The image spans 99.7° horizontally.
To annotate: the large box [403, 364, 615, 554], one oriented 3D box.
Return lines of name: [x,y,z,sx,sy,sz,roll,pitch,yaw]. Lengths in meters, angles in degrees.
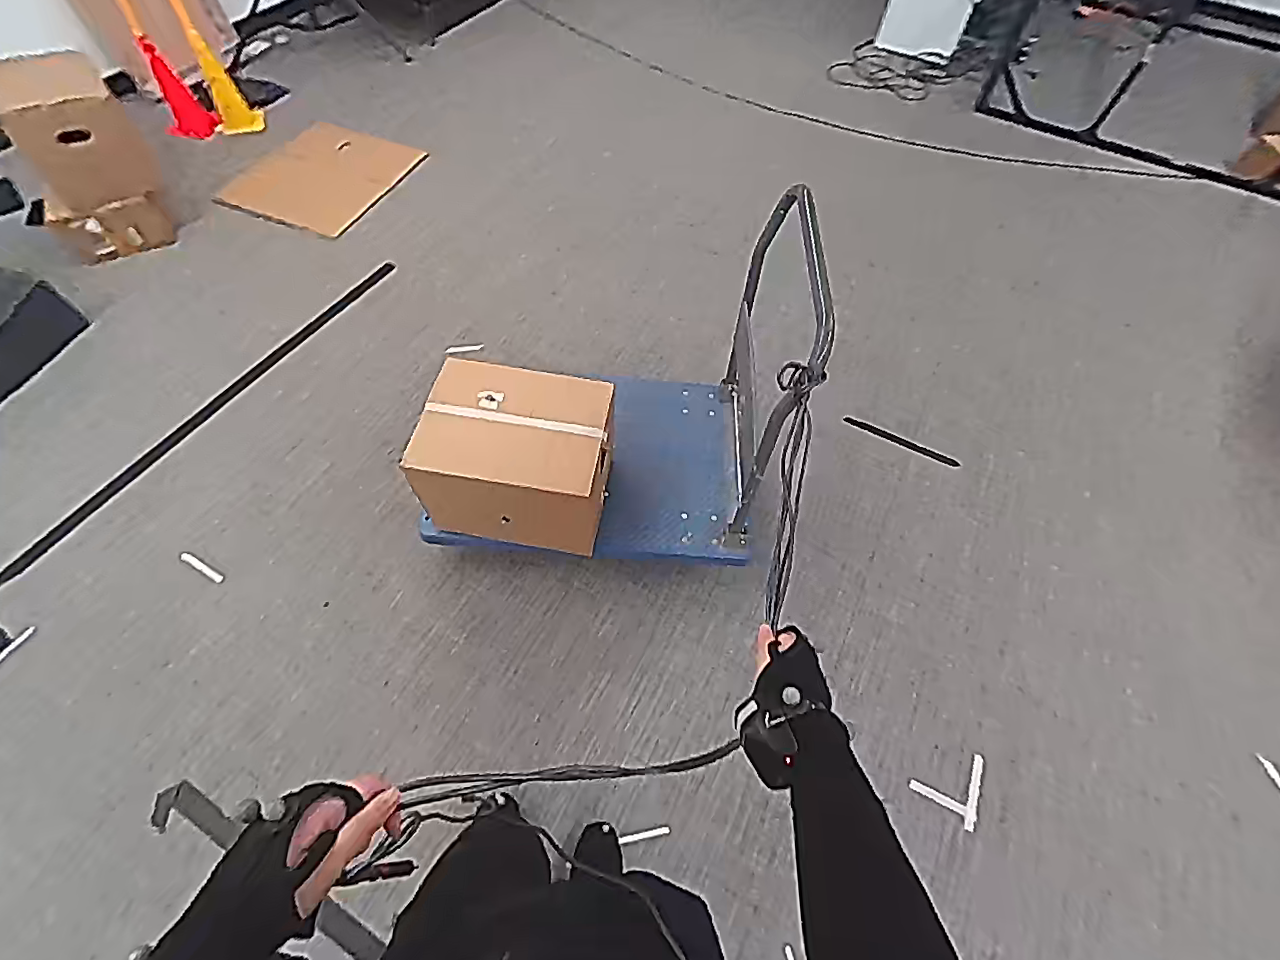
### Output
large box: [-0.279,-0.041,1.311,0.408,0.320,0.320,9,58,2]
